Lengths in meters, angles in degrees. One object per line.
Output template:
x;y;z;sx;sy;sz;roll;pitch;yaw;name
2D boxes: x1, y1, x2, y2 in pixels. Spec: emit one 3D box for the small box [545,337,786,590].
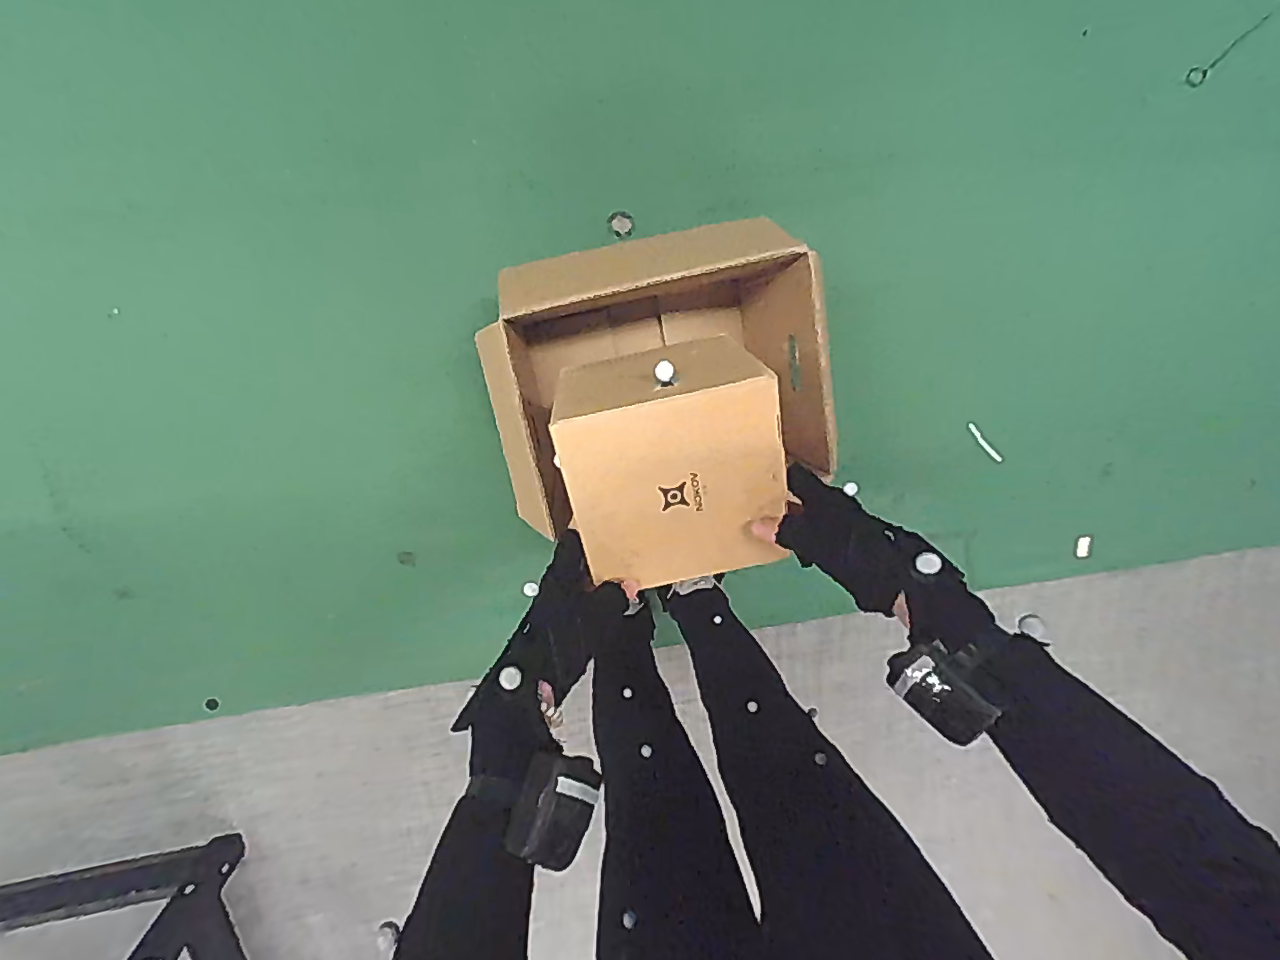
0.021;-0.026;0.508;0.179;0.176;0.168;-13;115;0;small box
